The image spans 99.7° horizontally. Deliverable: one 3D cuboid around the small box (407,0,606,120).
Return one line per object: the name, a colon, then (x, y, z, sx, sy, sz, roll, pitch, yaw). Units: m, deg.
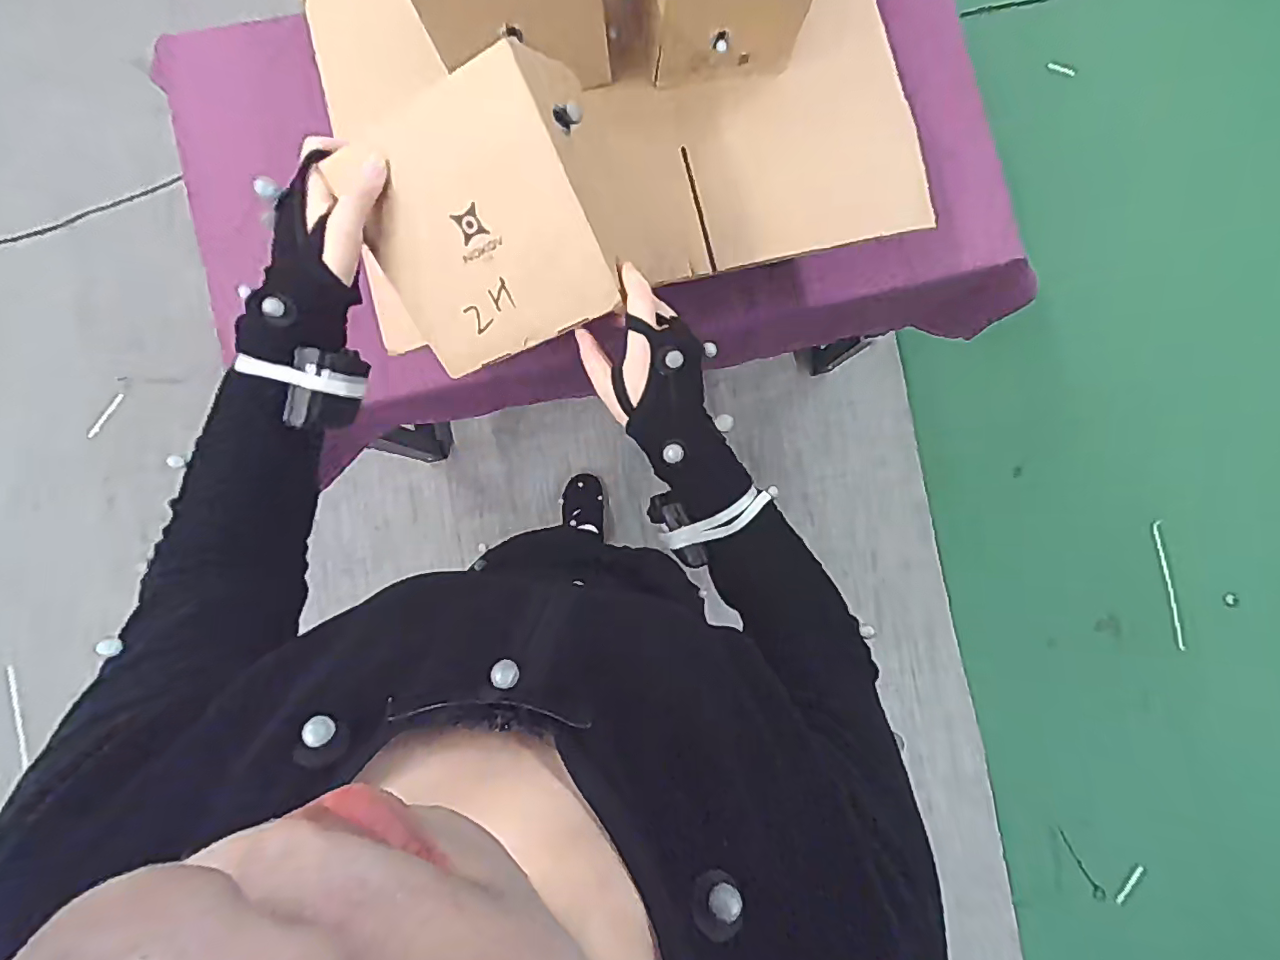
small box: (-0.137, -0.526, 0.567, 0.179, 0.176, 0.168, -12, 87, 4)

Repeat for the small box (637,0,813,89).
small box: (0.087, -0.572, 0.582, 0.168, 0.176, 0.179, -11, 88, -5)
